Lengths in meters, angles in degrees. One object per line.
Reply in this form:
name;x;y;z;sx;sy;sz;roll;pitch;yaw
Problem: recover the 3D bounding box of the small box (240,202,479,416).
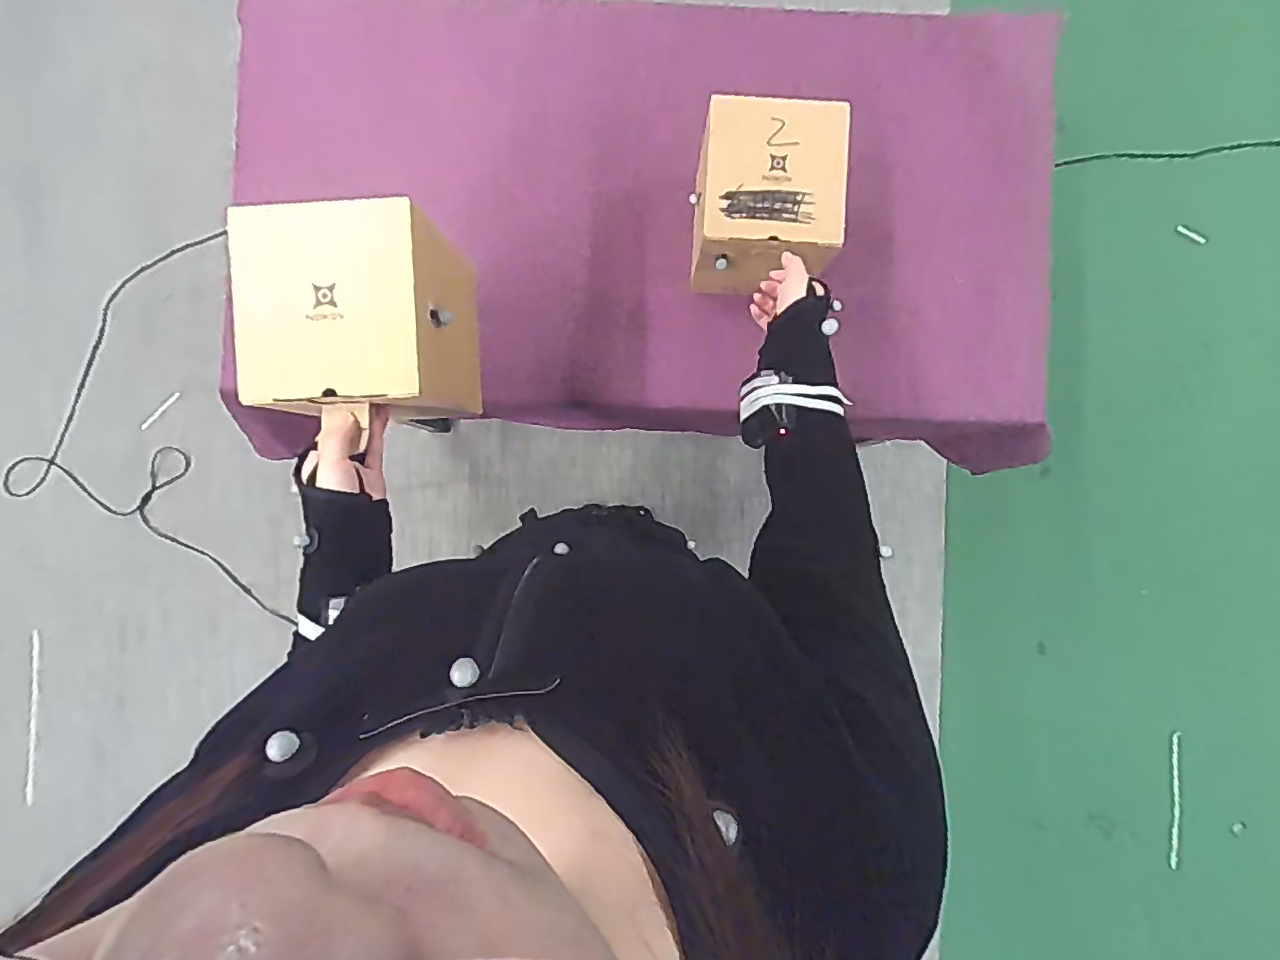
small box;-0.279;-0.165;0.572;0.168;0.176;0.179;-2;92;2
